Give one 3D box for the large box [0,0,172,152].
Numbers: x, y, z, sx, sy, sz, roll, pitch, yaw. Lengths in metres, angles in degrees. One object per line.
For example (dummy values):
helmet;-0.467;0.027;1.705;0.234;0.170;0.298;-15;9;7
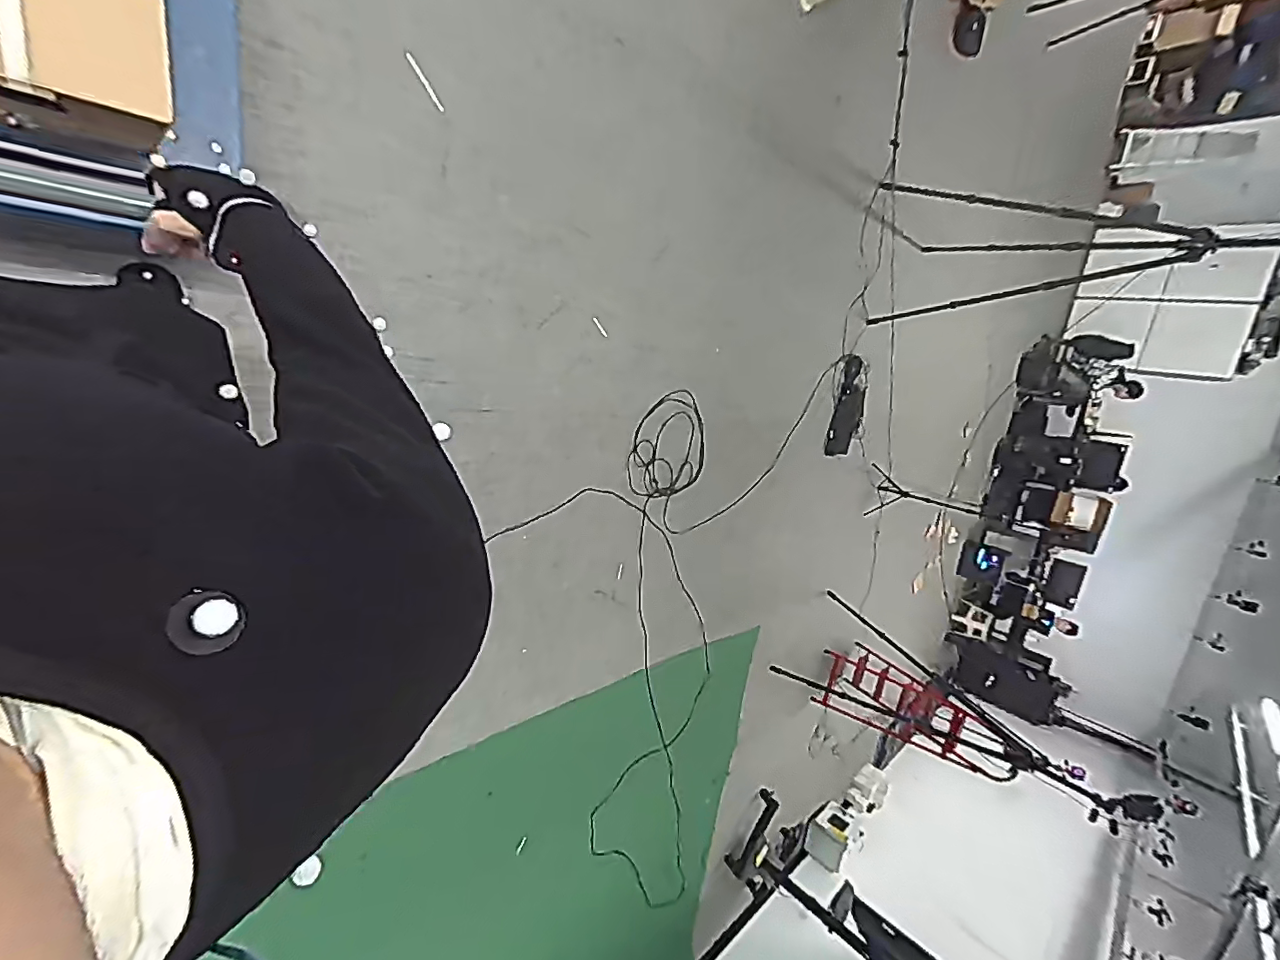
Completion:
large box;-0.897;-0.749;0.763;0.320;0.320;0.408;-7;110;-43
